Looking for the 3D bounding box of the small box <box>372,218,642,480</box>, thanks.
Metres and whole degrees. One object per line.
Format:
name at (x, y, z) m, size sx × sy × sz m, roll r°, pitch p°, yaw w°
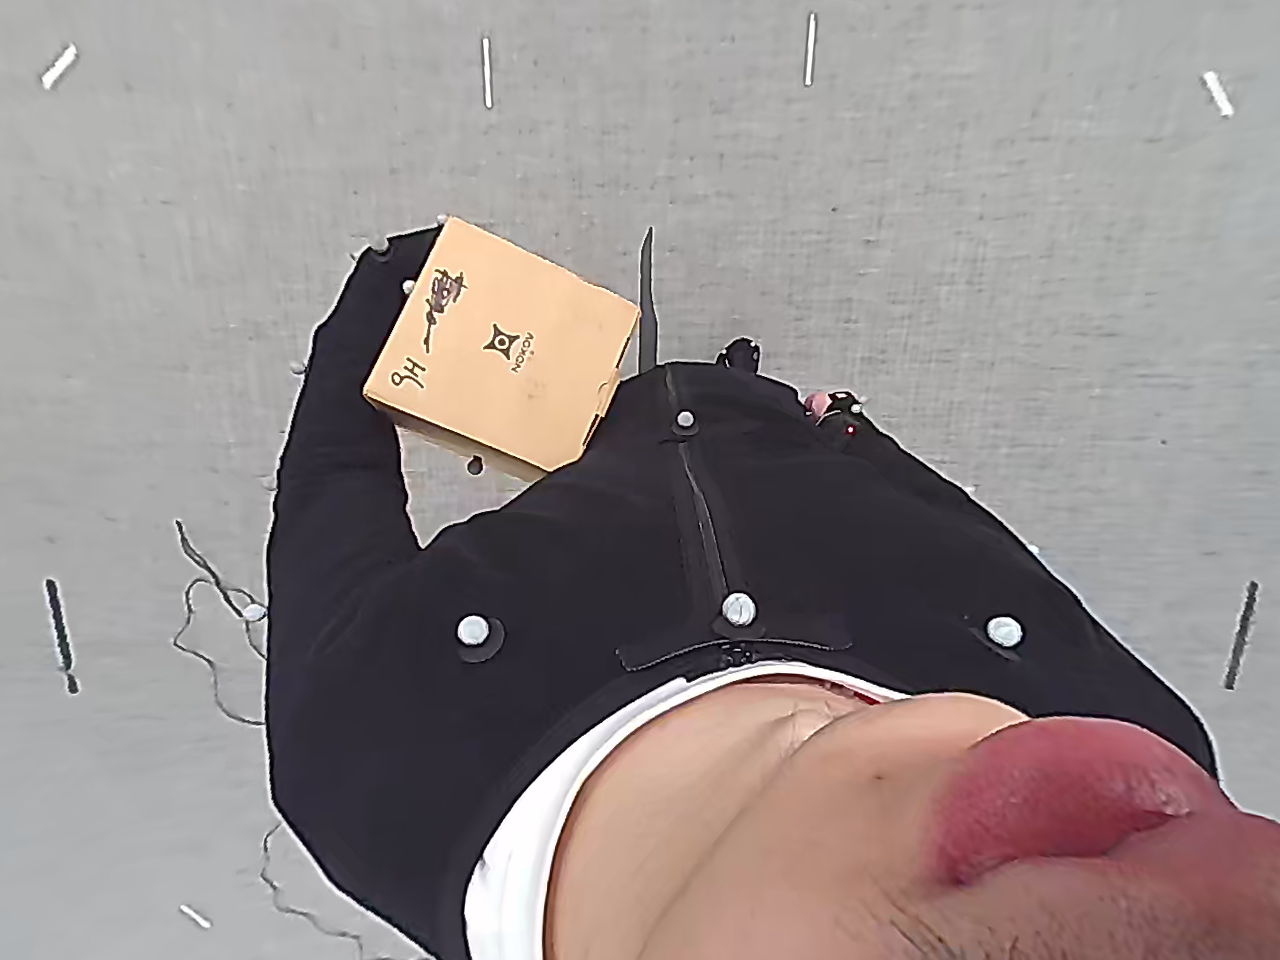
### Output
small box at (-0.123, -0.105, 0.527) m, size 0.179 × 0.176 × 0.168 m, roll 23°, pitch 80°, yaw -12°
